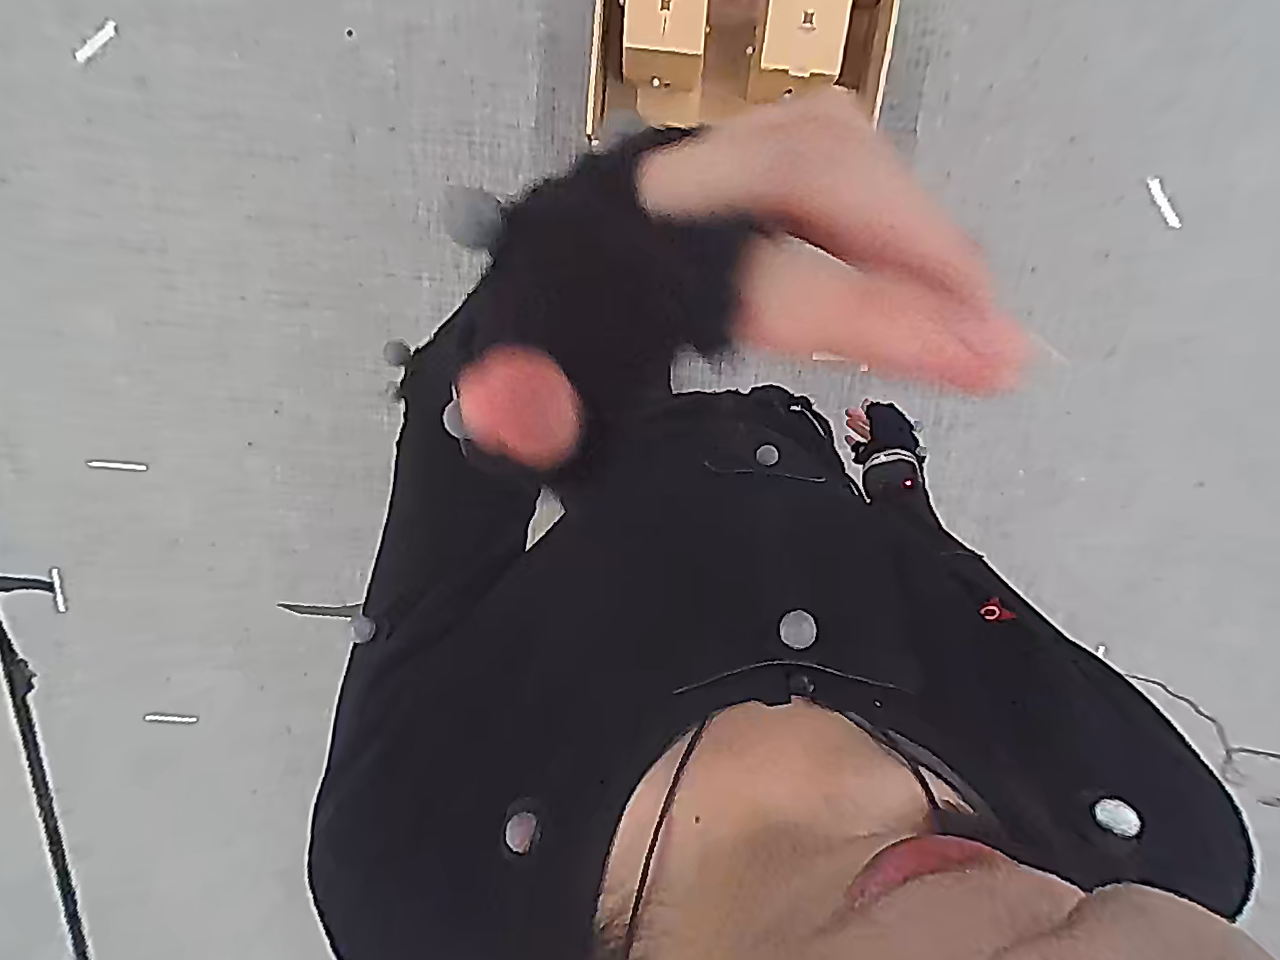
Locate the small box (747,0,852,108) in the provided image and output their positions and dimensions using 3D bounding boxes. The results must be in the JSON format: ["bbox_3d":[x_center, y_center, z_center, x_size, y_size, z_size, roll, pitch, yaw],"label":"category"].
[{"bbox_3d":[0.334,-0.933,1.160,0.168,0.176,0.179,6,105,-2],"label":"small box"}]
